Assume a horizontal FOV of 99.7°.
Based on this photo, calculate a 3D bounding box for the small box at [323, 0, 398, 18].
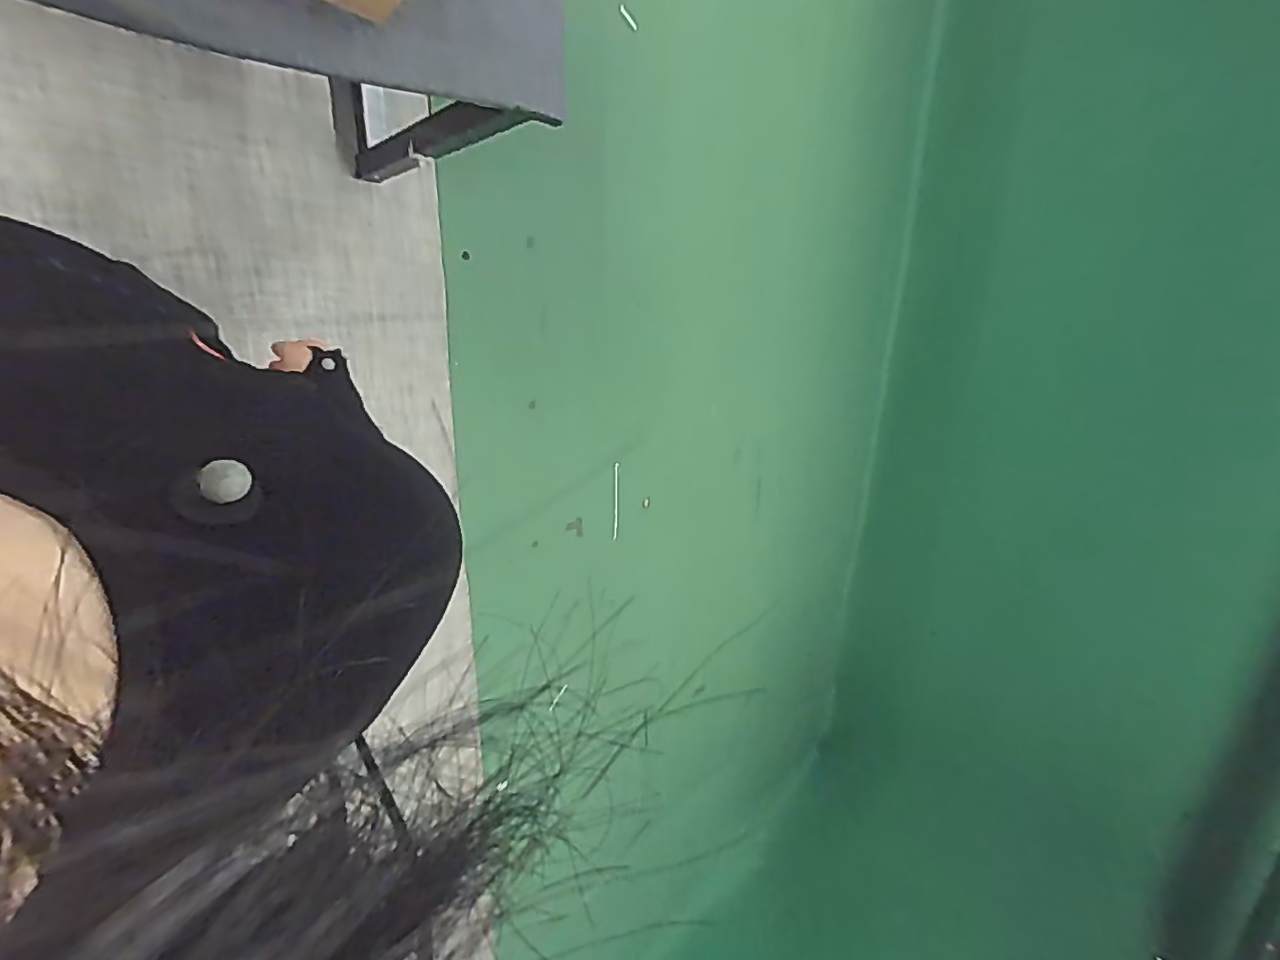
[{"bbox_3d":[-0.309,-0.600,0.513,0.168,0.176,0.179,-12,111,-42],"label":"small box"}]
